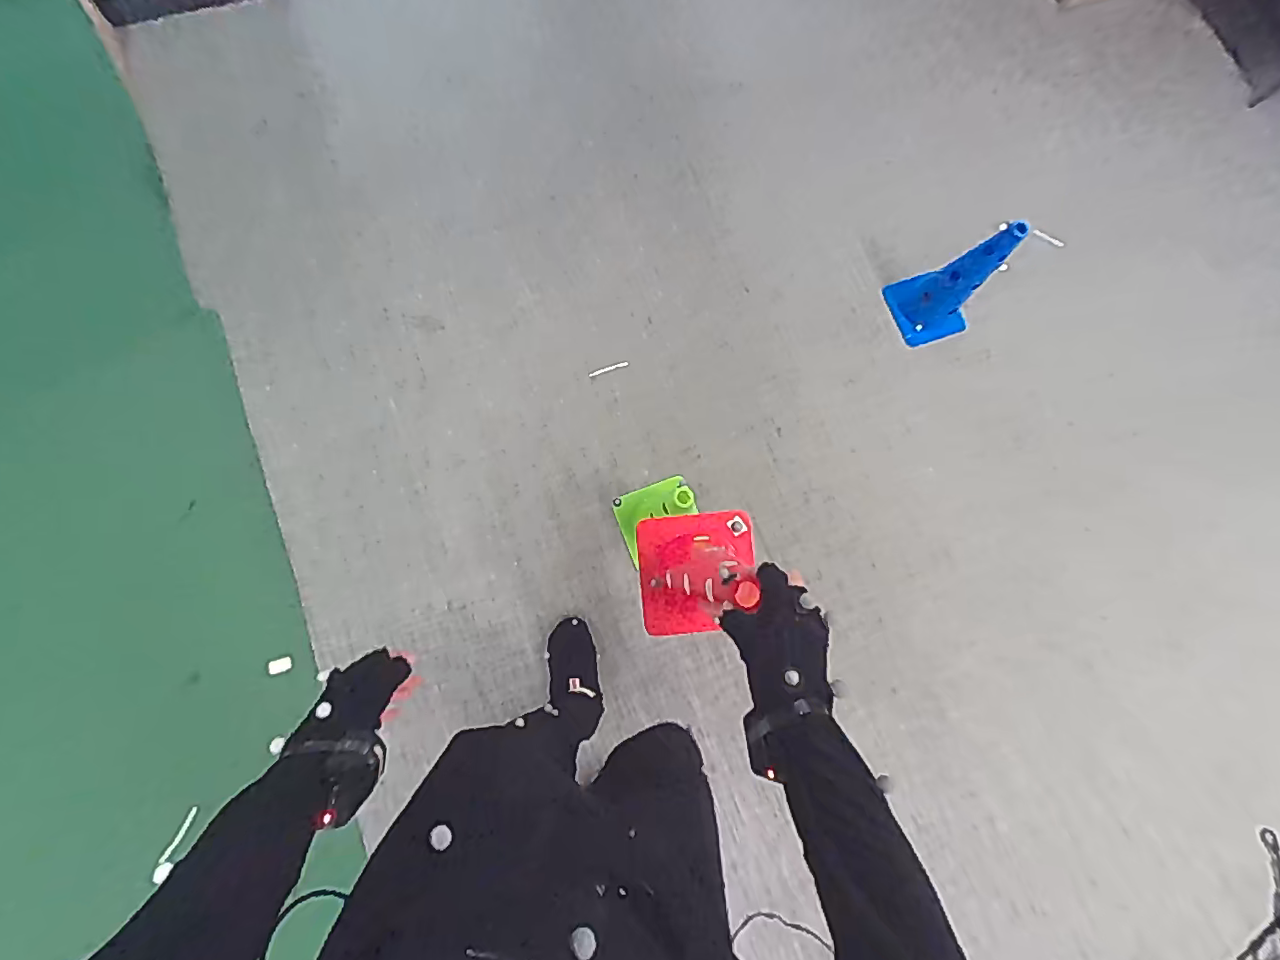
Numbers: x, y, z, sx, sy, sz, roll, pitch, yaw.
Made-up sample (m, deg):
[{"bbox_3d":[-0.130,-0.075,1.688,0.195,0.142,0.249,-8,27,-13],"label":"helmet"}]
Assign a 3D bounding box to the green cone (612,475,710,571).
[{"bbox_3d":[0.068,0.070,1.172,0.202,0.368,0.200,-22,81,-9],"label":"green cone"}]
